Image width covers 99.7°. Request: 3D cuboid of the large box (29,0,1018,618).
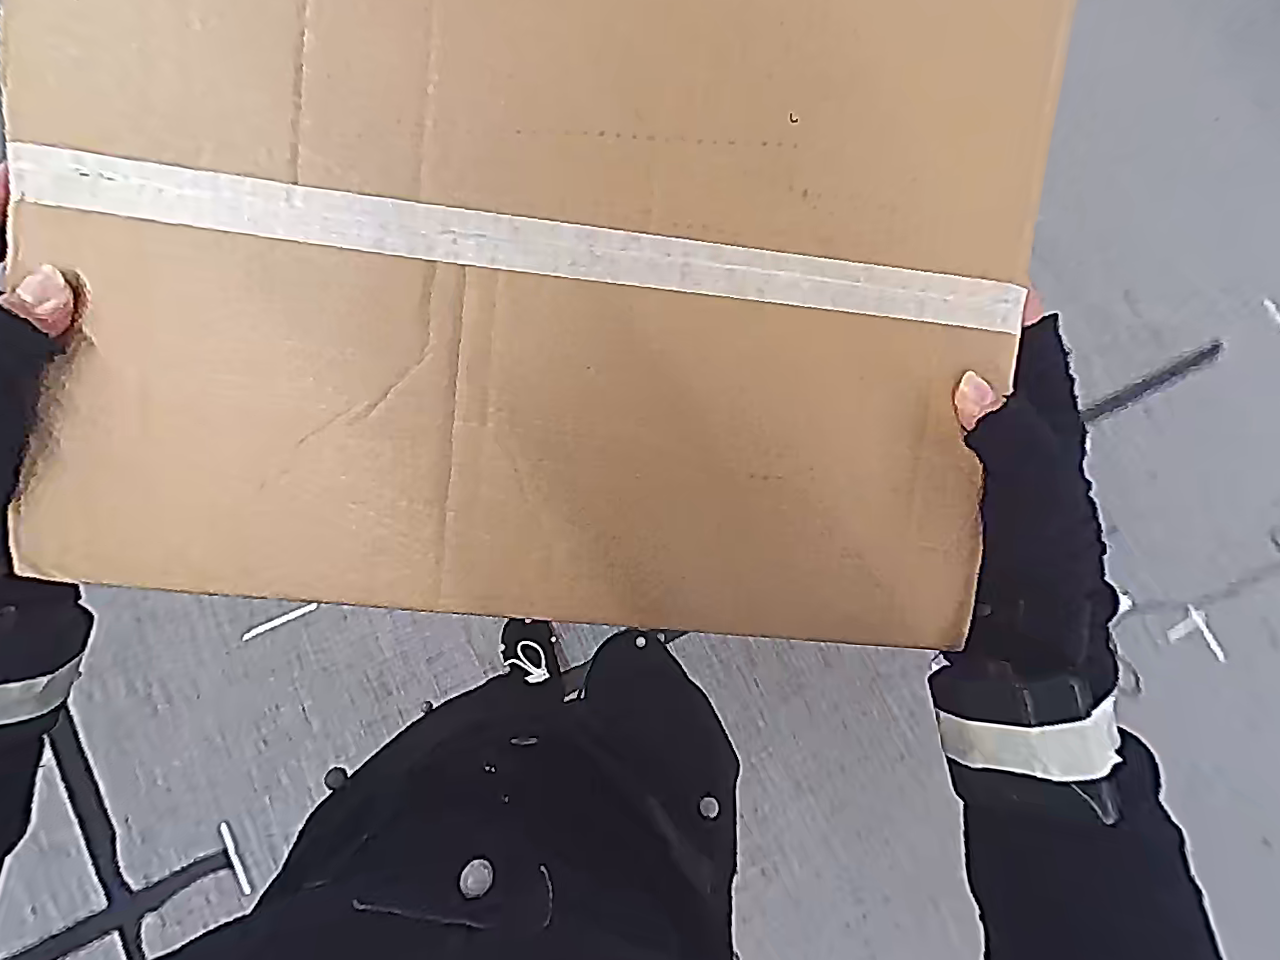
[{"bbox_3d":[-0.053,-0.115,0.381,0.408,0.320,0.320,5,95,-6],"label":"large box"}]
